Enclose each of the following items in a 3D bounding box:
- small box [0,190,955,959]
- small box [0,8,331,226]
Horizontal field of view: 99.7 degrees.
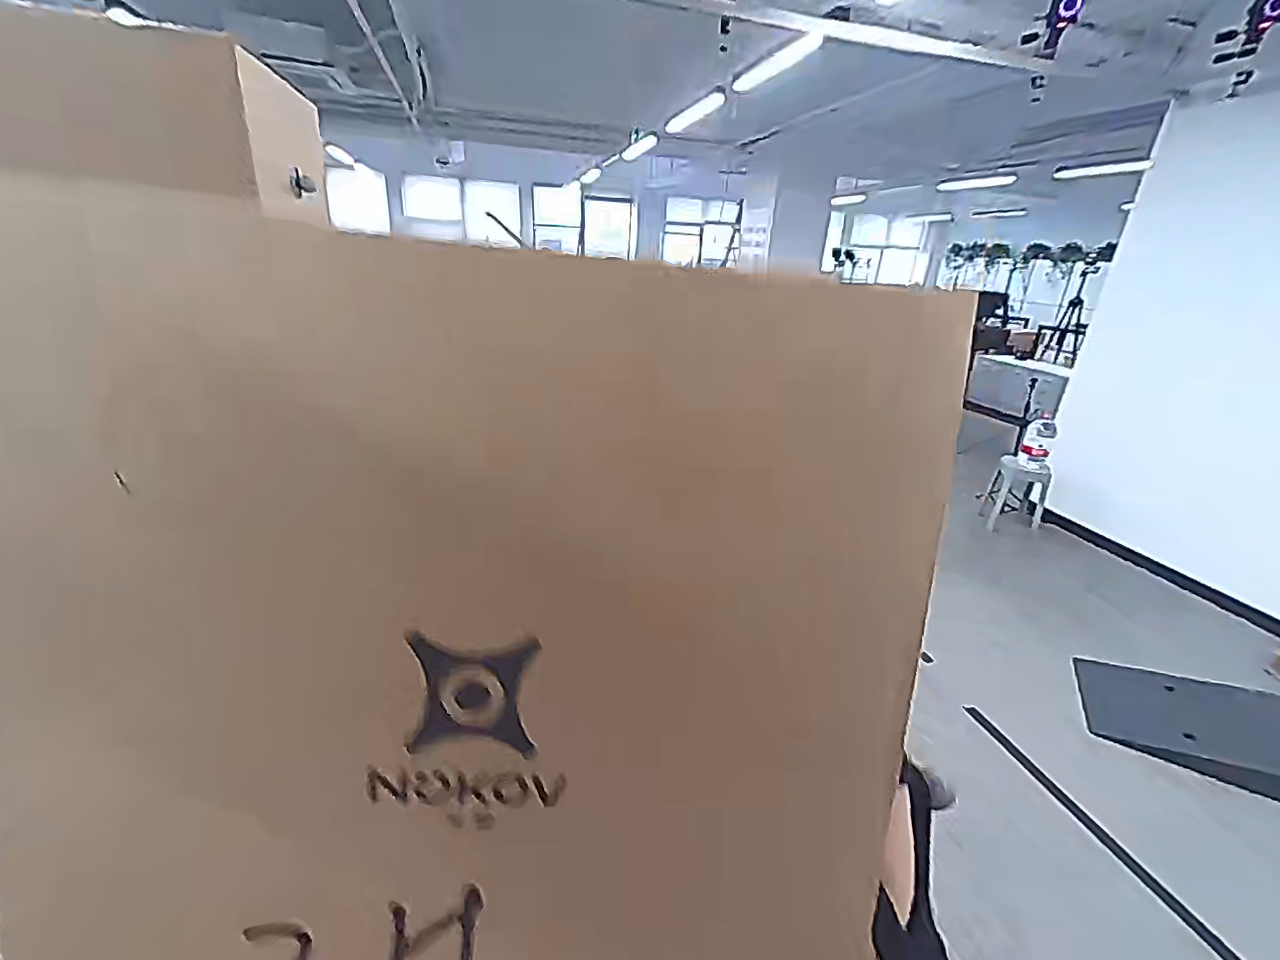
[{"bbox_3d":[-0.036,0.034,0.183,0.168,0.179,0.176,4,8,-4],"label":"small box"},{"bbox_3d":[-0.351,-0.221,0.418,0.168,0.176,0.179,-2,23,-14],"label":"small box"}]
